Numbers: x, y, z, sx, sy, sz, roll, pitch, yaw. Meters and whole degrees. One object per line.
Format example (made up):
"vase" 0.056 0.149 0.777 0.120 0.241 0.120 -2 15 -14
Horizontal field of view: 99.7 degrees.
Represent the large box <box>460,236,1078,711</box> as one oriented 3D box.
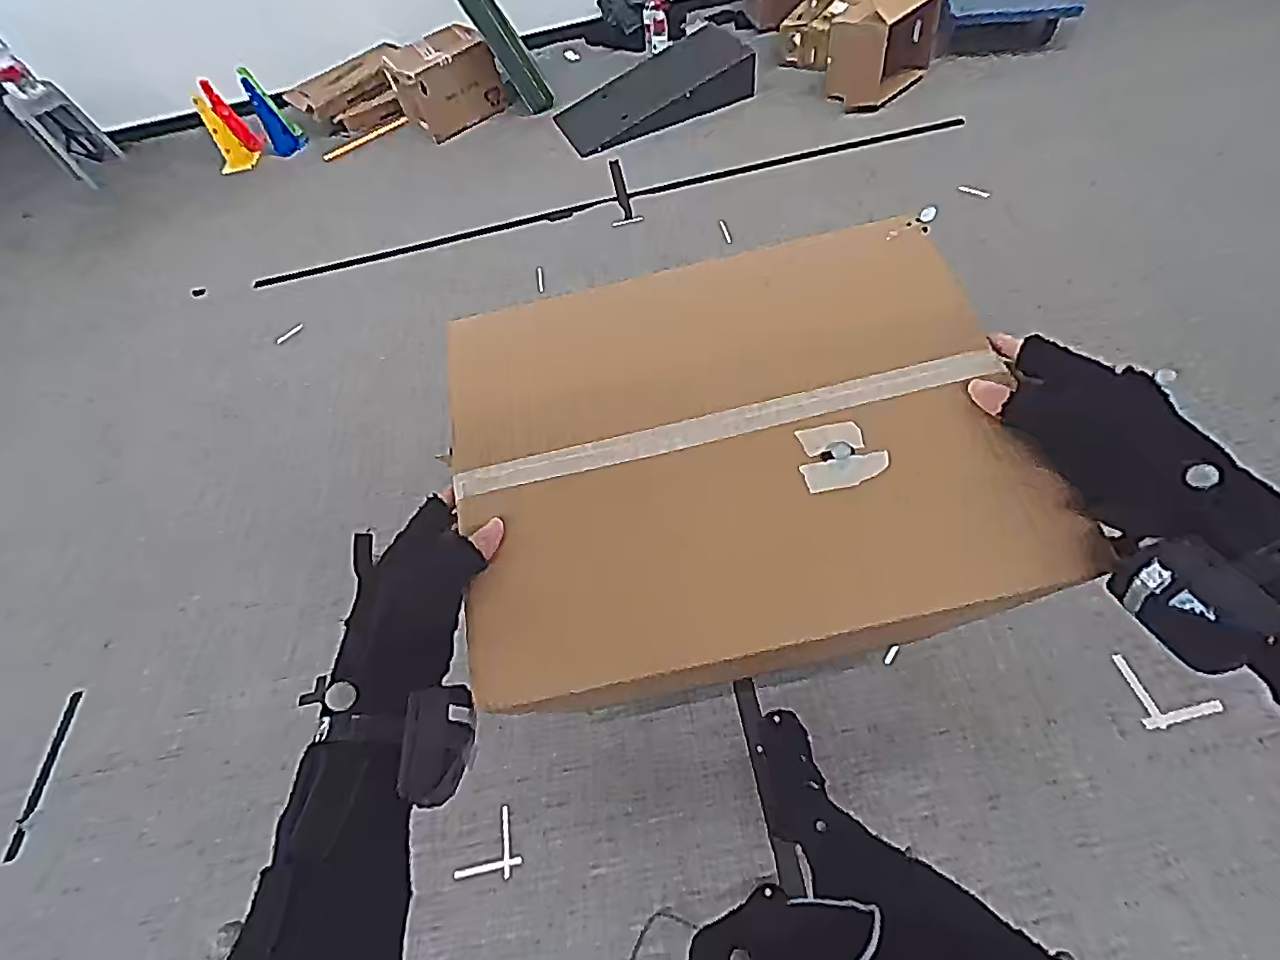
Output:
"large box" 0.078 0.026 0.548 0.408 0.320 0.320 -13 66 1
